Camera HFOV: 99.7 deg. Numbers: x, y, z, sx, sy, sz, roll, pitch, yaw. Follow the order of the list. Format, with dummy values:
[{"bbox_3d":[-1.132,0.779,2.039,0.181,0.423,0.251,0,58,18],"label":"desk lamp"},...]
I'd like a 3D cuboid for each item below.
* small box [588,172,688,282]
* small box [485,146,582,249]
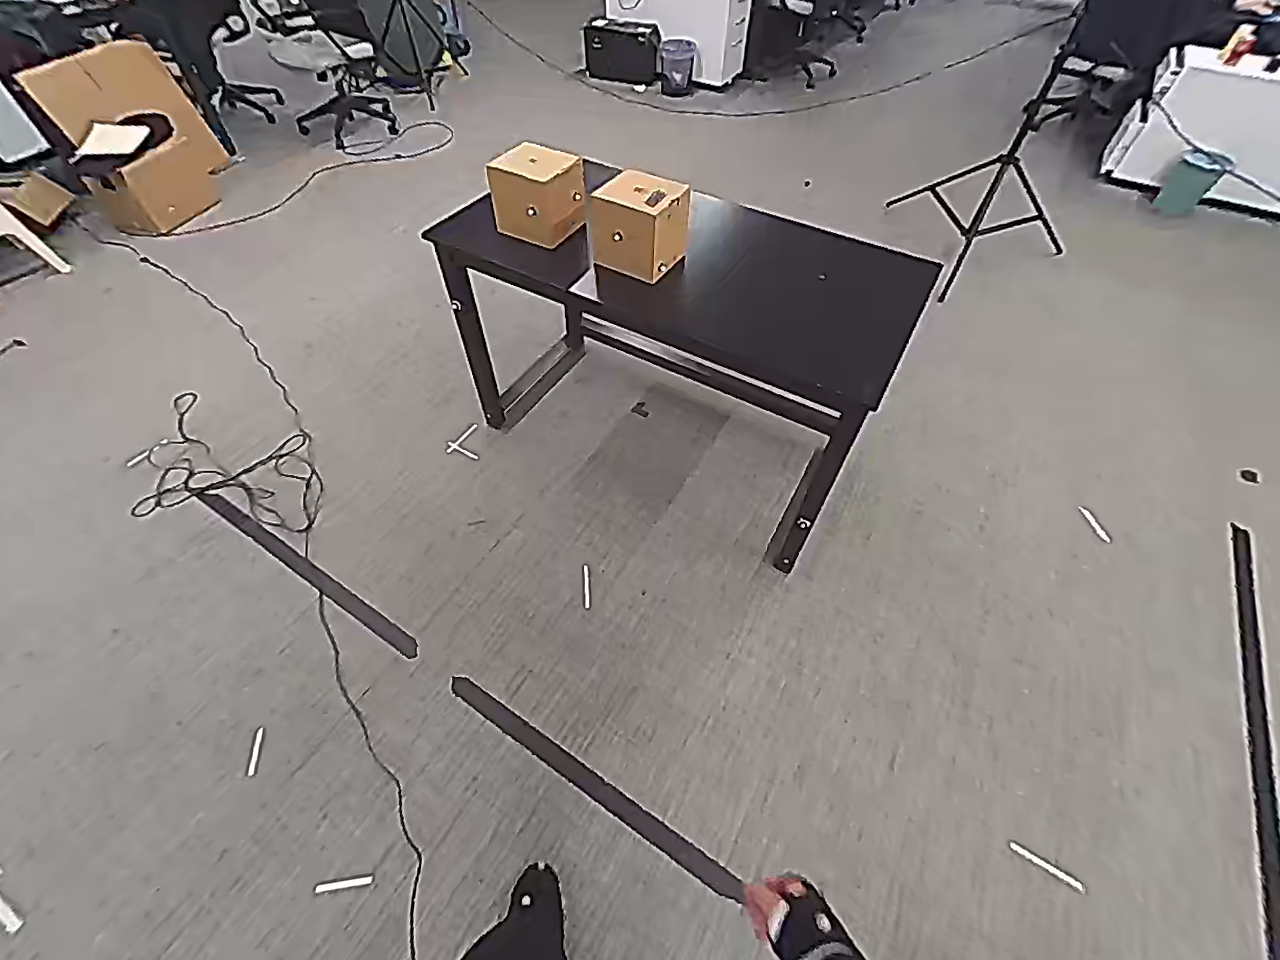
[{"bbox_3d":[-0.003,-0.602,1.296,0.179,0.176,0.168,26,56,19],"label":"small box"},{"bbox_3d":[-0.262,-0.717,1.380,0.179,0.176,0.168,23,55,16],"label":"small box"}]
